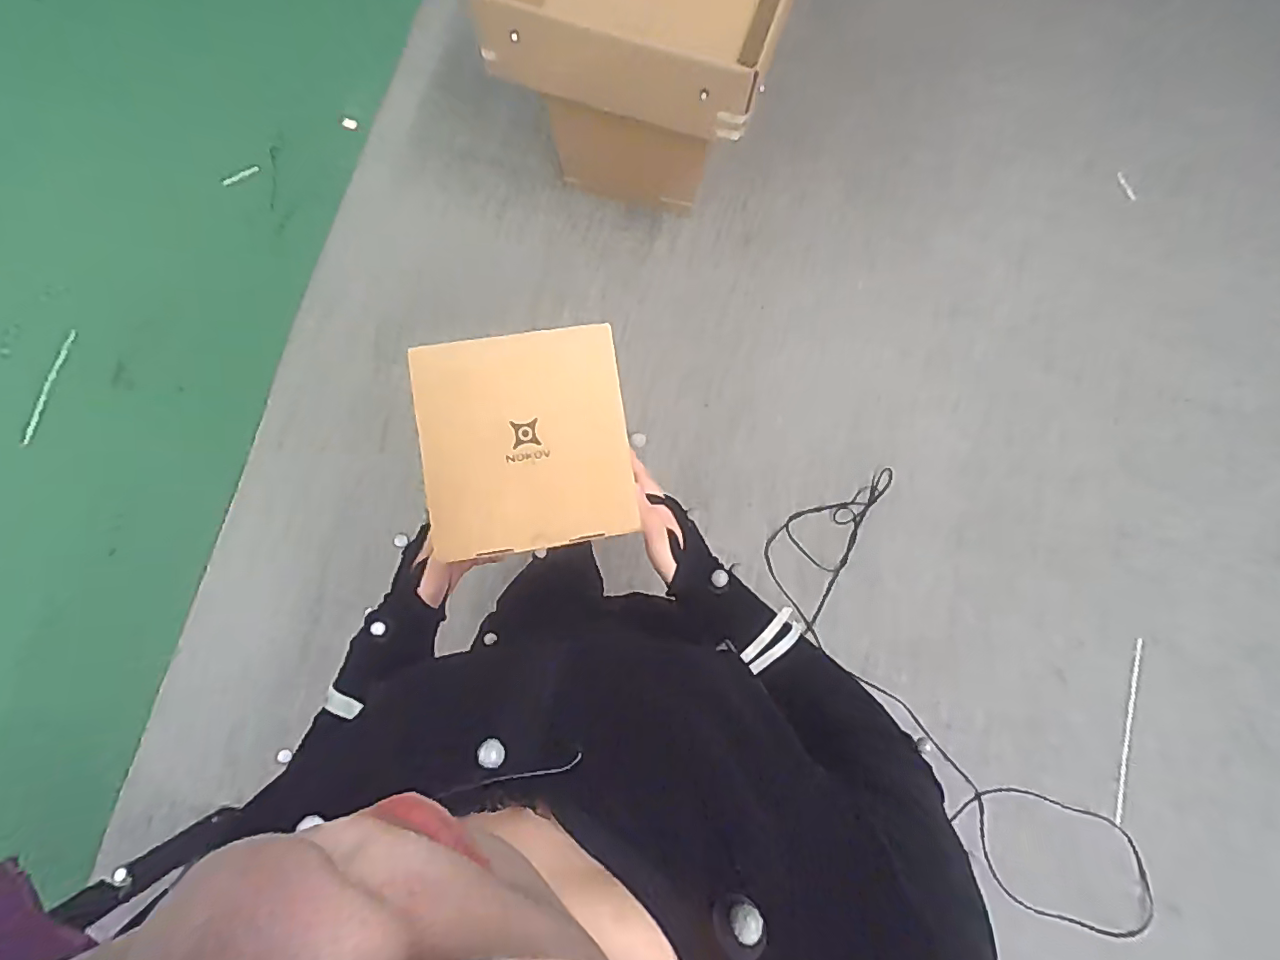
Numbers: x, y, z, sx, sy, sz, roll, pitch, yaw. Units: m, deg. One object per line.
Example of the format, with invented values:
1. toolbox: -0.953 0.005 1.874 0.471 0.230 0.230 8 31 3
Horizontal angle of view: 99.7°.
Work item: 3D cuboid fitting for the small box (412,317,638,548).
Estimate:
1. small box: -0.100 -0.035 0.517 0.168 0.176 0.179 -8 87 -5
